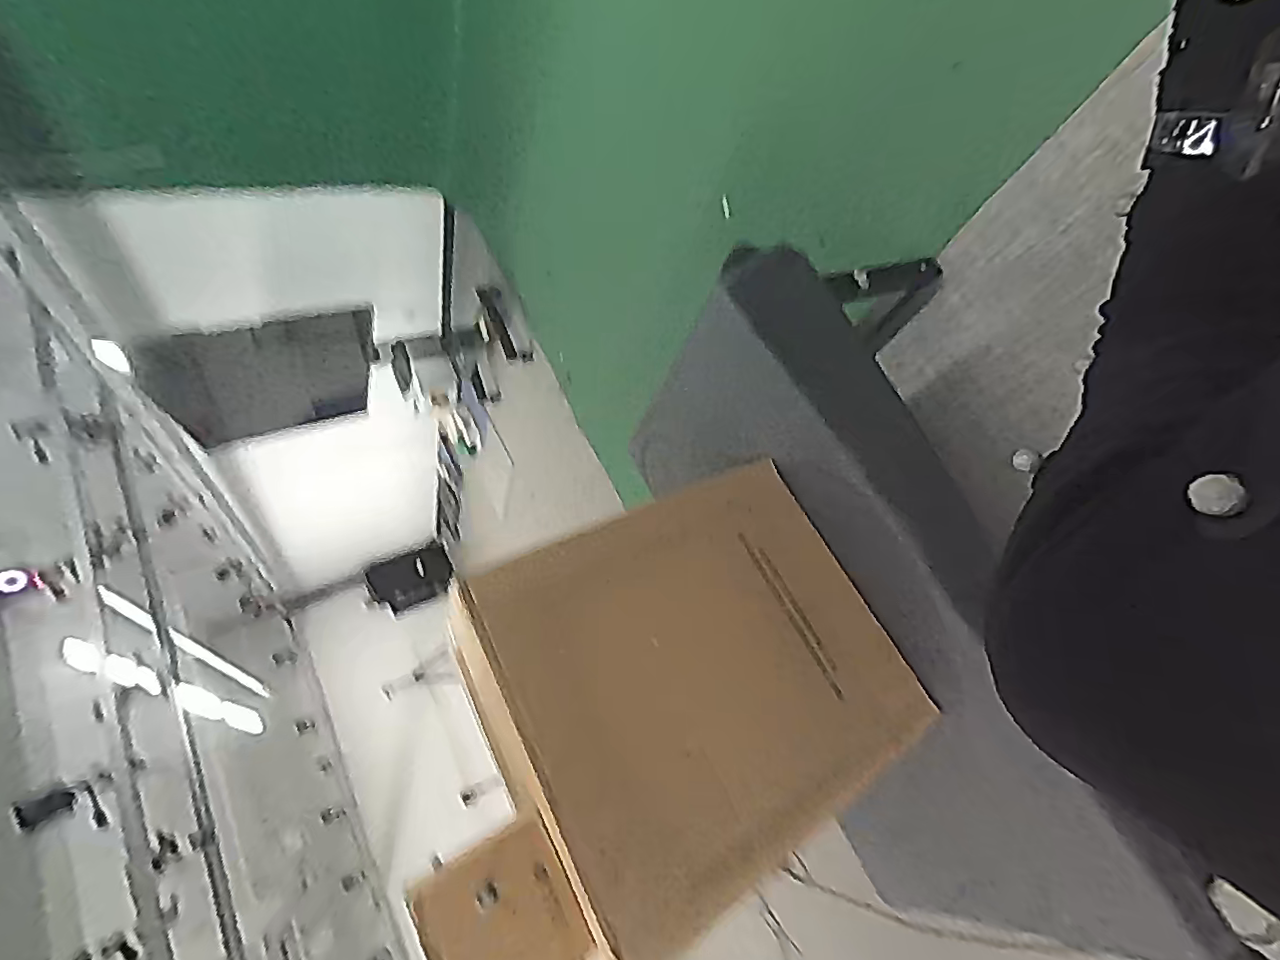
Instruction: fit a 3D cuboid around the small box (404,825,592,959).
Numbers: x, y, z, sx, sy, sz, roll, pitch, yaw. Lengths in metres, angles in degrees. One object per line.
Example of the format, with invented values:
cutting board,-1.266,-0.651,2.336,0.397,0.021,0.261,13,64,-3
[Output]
small box,-0.176,0.556,0.667,0.168,0.176,0.179,59,147,21
